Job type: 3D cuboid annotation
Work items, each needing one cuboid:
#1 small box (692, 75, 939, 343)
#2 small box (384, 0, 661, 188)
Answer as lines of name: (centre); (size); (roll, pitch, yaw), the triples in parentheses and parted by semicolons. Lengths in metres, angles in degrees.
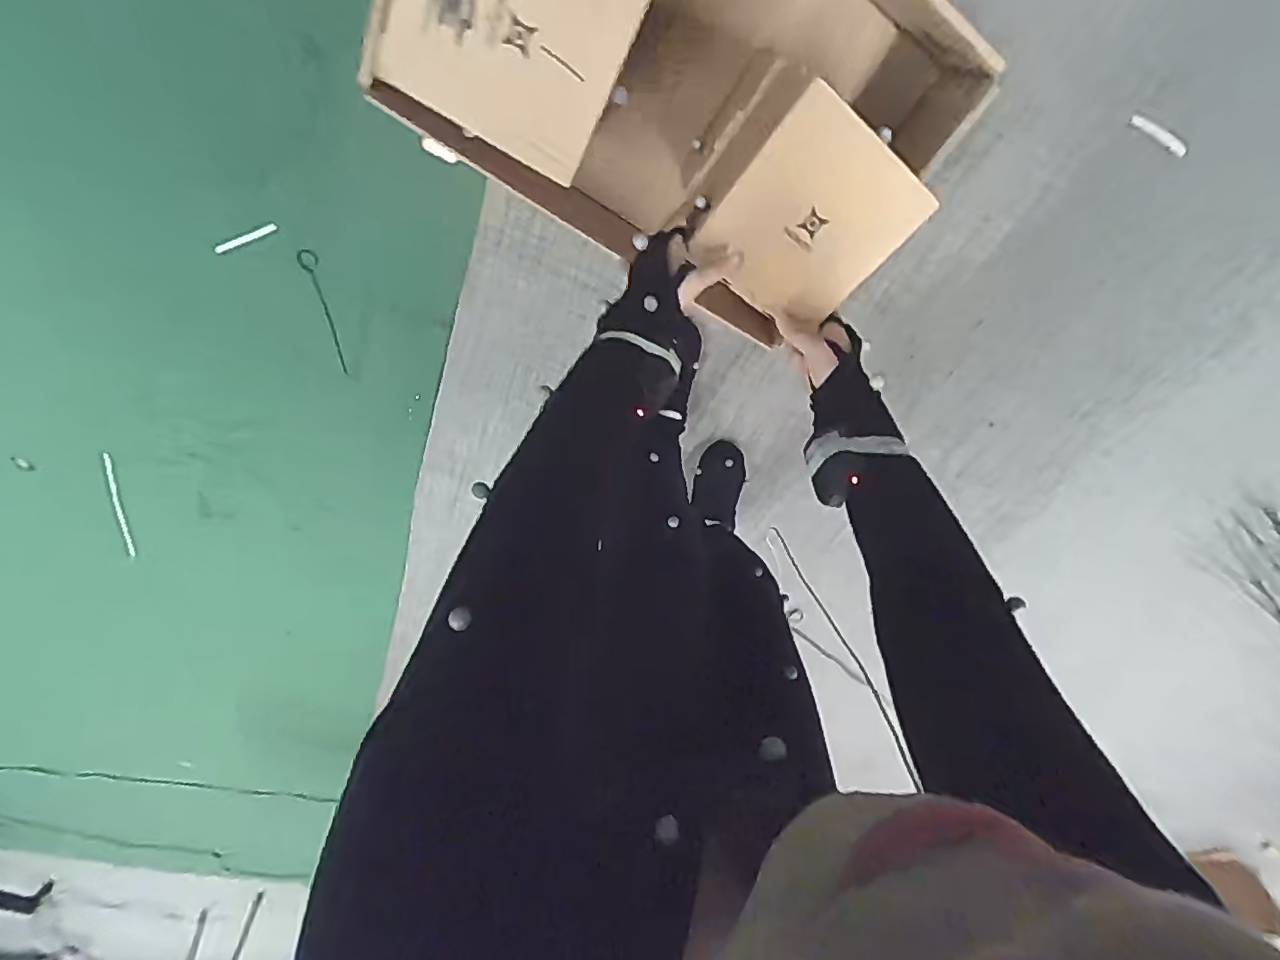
small box: (0.167, -0.291, 0.580); (0.168, 0.176, 0.179); (29, 127, -22)
small box: (-0.096, -0.403, 0.487); (0.179, 0.176, 0.168); (23, 126, -19)
